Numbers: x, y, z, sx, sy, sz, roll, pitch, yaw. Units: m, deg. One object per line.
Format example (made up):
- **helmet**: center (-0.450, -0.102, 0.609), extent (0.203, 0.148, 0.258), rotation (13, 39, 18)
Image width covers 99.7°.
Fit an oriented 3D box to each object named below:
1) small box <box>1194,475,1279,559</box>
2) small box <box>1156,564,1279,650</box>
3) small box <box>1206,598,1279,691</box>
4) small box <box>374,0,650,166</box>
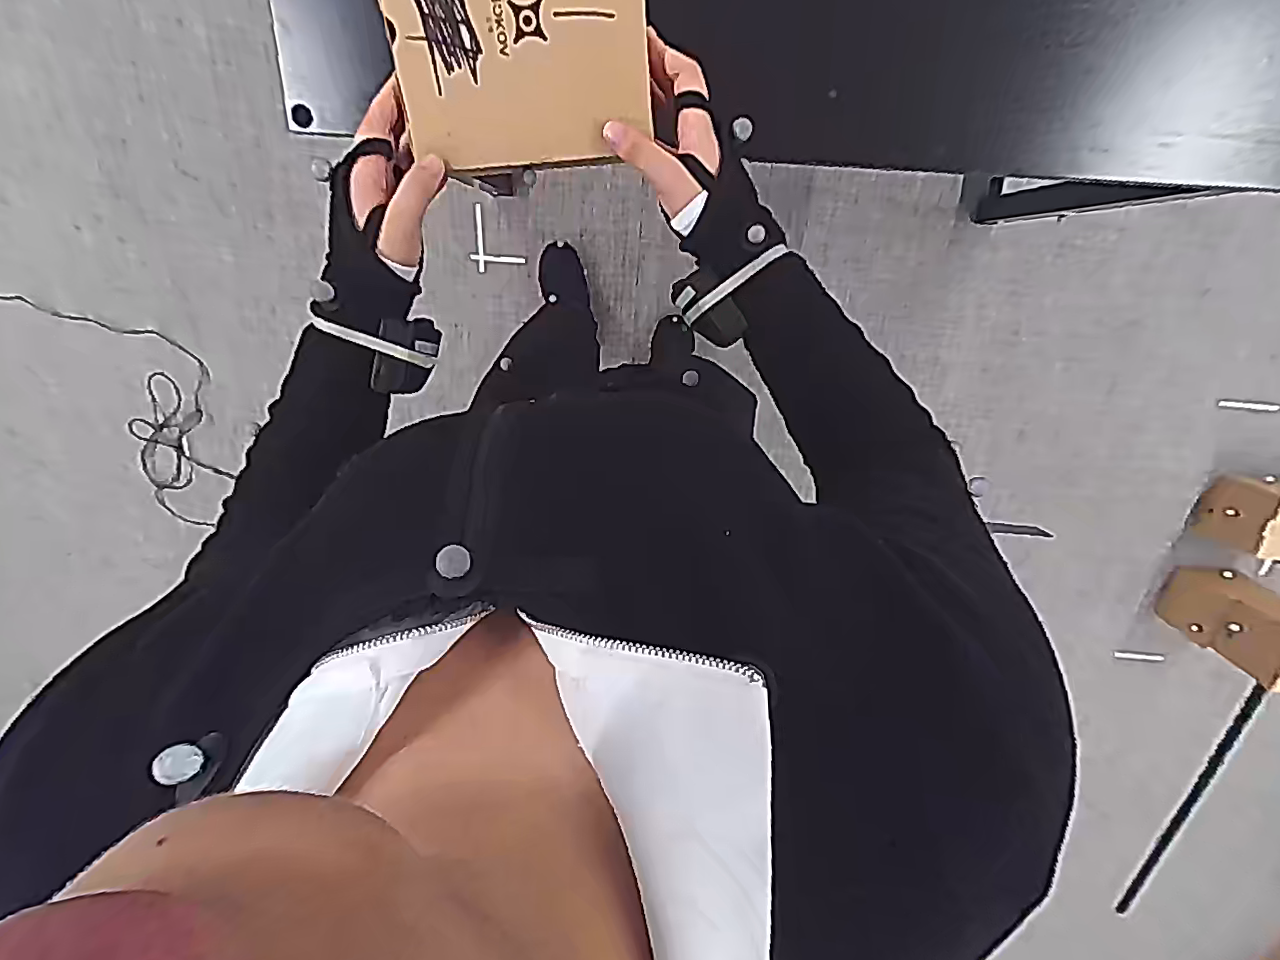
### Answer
- **small box**: center (1.639, 0.096, 1.419), extent (0.179, 0.176, 0.168), rotation (7, 112, 0)
- **small box**: center (1.627, 0.361, 1.526), extent (0.168, 0.176, 0.179), rotation (4, 113, 1)
- **small box**: center (1.633, 0.419, 1.374), extent (0.179, 0.176, 0.168), rotation (6, 112, 1)
- **small box**: center (-0.086, -0.343, 0.416), extent (0.179, 0.176, 0.168), rotation (-5, 119, -1)
